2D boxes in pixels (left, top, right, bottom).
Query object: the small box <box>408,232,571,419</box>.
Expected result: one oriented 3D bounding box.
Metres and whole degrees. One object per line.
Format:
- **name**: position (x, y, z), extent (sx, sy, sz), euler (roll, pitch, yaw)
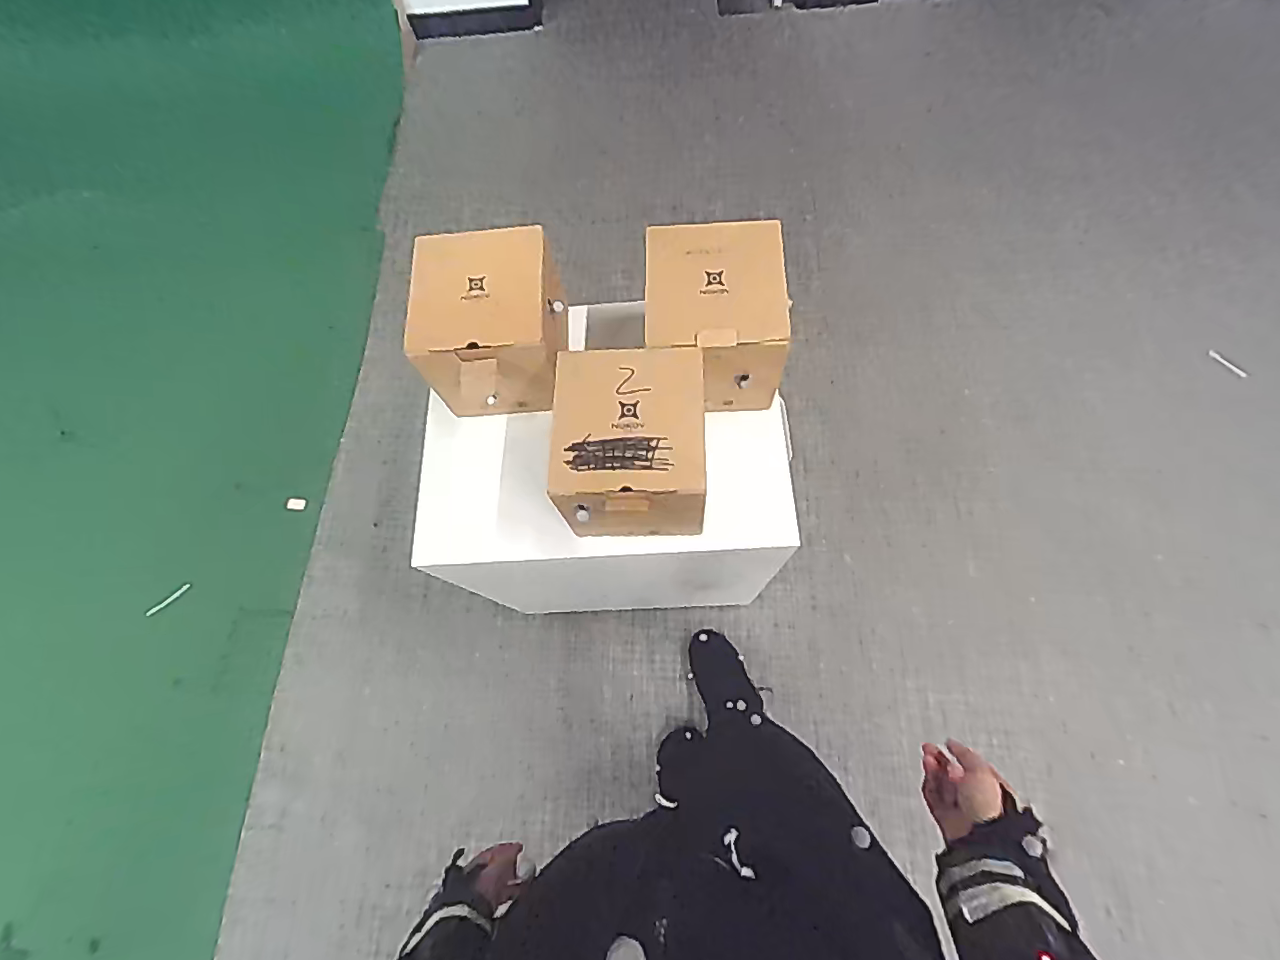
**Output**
- **small box**: position (-0.189, -0.200, 0.731), extent (0.168, 0.176, 0.179), euler (-4, 71, 3)
